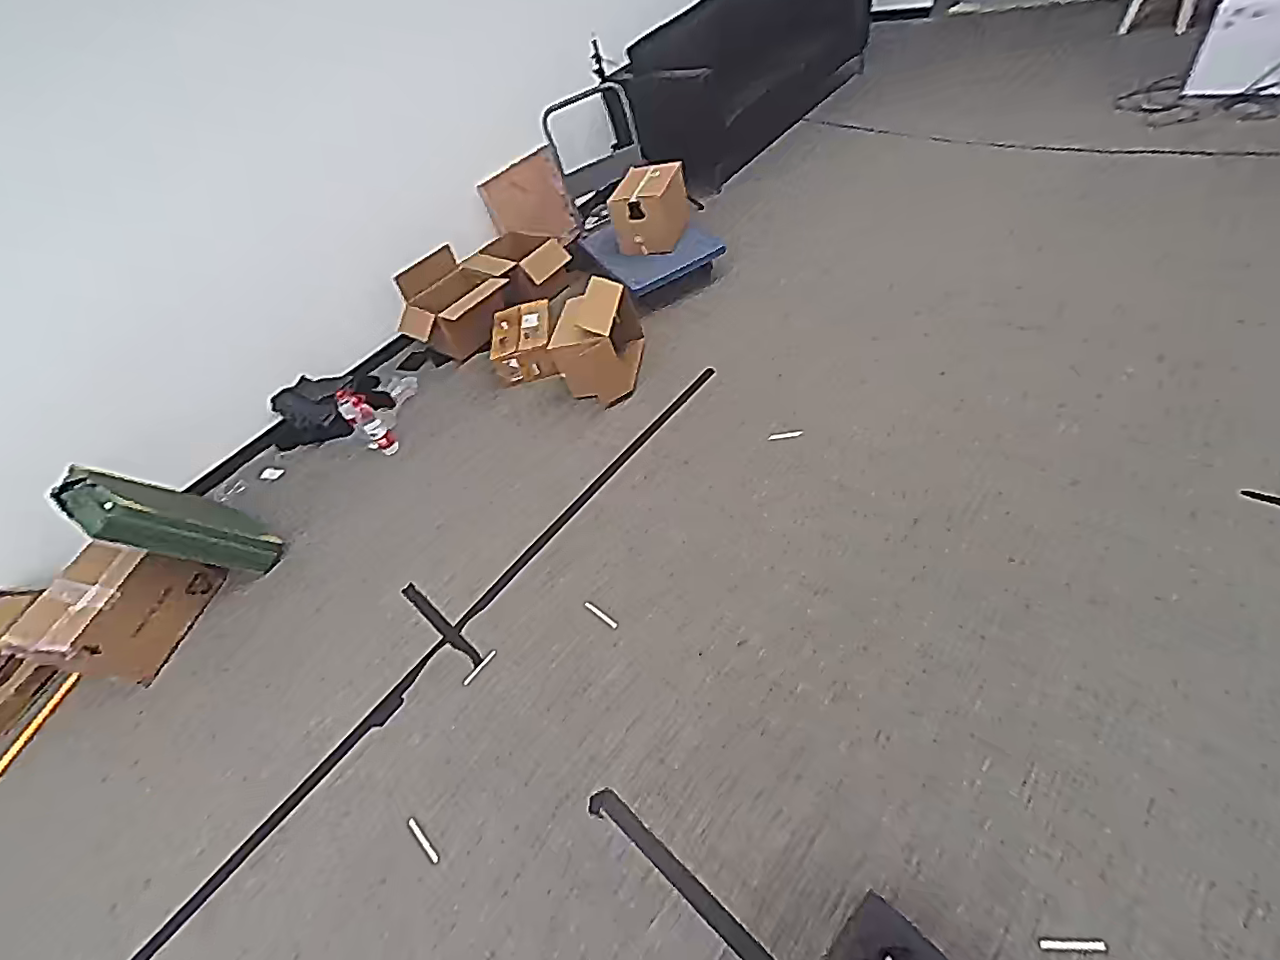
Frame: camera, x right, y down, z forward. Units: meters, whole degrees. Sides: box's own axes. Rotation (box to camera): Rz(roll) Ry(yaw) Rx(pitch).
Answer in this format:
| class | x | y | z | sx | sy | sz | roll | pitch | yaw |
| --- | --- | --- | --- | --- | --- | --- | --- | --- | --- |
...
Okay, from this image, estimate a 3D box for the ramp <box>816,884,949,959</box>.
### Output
| class | x | y | z | sx | sy | sz | roll | pitch | yaw |
| --- | --- | --- | --- | --- | --- | --- | --- | --- | --- |
| ramp | 0.660 | 1.235 | 0.812 | 0.991 | 0.206 | 0.509 | 29 | 63 | 34 |
